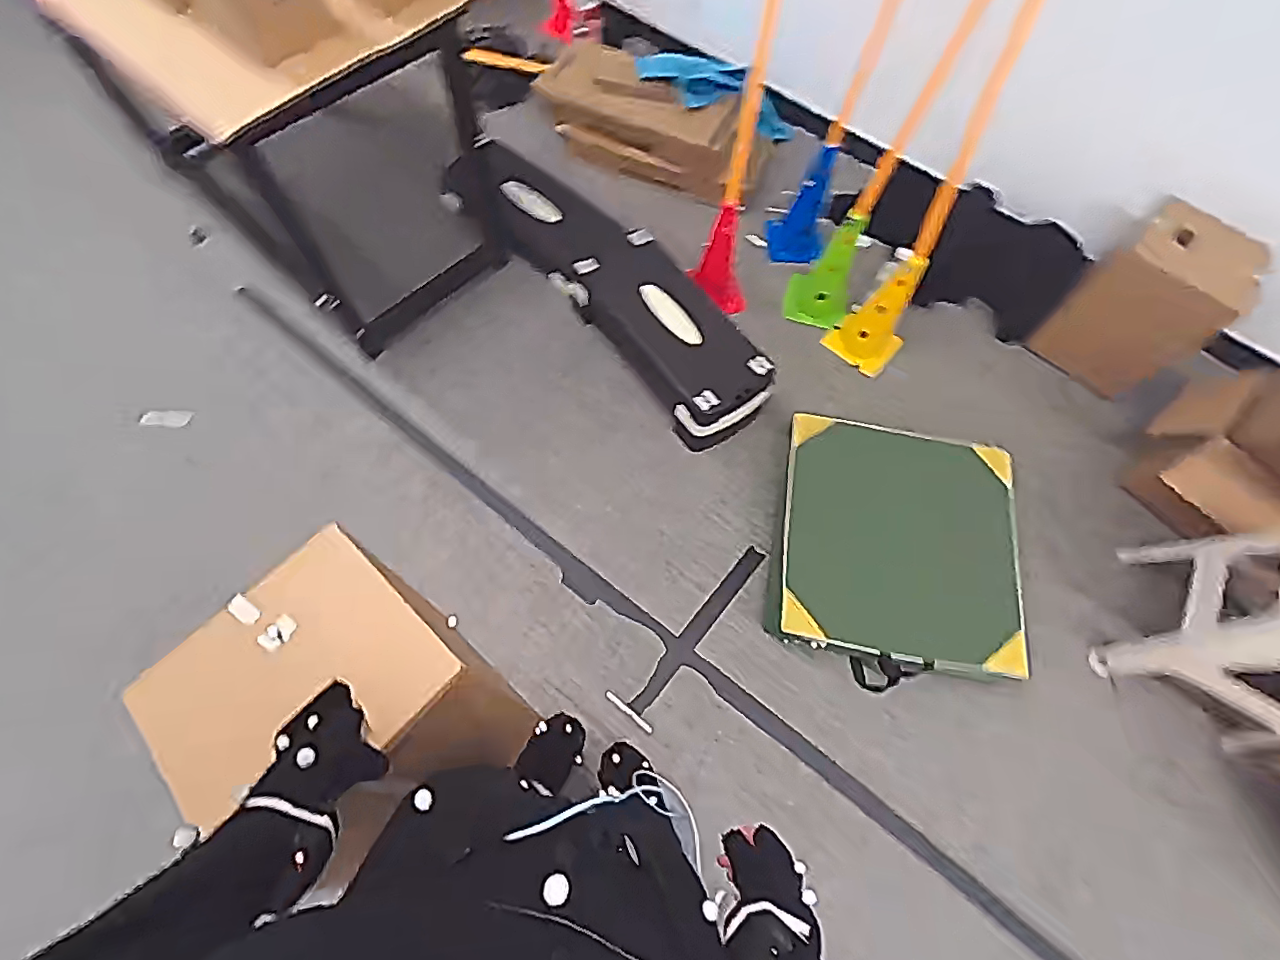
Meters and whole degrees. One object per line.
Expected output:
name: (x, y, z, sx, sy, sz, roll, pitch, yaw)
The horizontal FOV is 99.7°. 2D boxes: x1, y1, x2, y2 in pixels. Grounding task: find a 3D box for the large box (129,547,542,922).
large box: (-0.407, 0.366, 0.822, 0.320, 0.408, 0.320, 36, 68, 23)
